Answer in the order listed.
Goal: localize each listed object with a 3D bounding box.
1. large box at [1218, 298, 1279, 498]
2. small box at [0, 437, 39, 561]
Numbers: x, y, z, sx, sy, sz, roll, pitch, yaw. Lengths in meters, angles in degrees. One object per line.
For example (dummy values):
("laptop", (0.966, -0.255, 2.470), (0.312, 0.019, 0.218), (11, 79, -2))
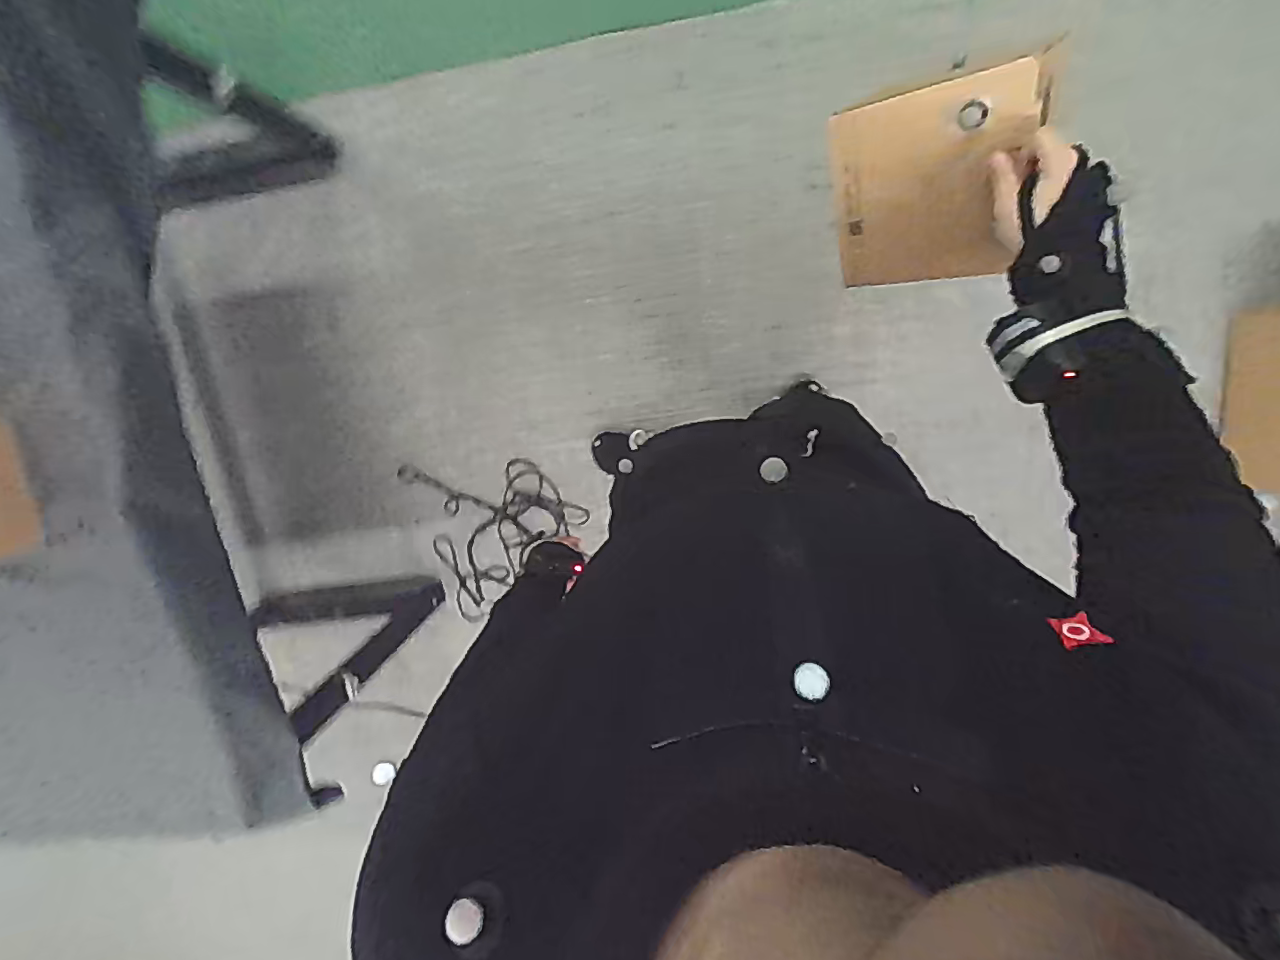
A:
("large box", (1.438, -0.172, 1.048), (0.320, 0.320, 0.408), (-8, 104, 8))
("small box", (-0.876, 0.027, 0.622), (0.168, 0.176, 0.179), (-1, 104, 7))
